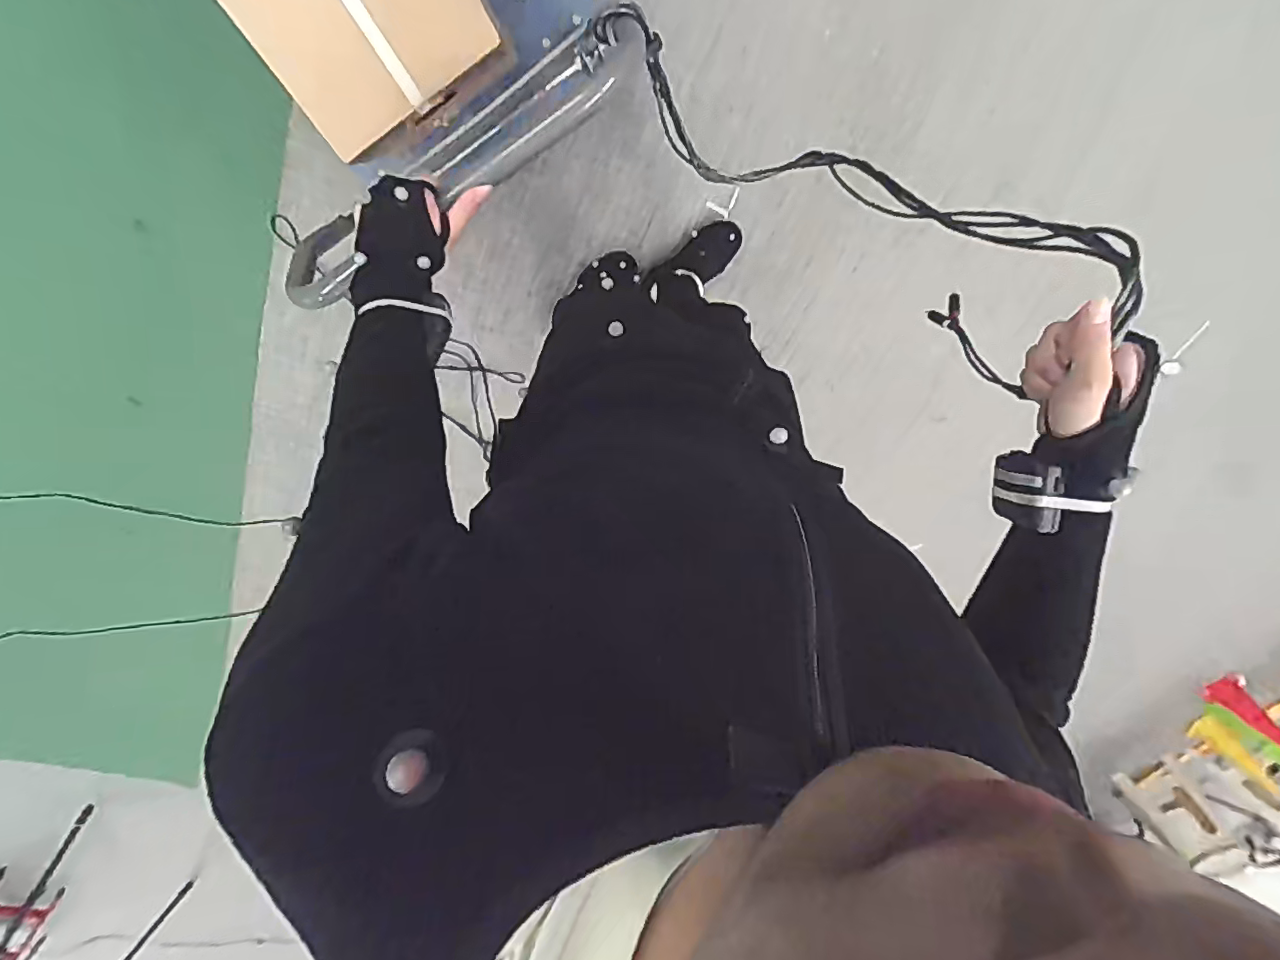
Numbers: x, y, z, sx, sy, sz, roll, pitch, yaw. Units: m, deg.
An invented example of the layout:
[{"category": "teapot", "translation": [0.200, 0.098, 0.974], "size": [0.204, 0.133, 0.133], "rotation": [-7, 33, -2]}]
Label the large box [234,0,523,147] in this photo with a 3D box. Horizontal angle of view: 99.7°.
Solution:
[{"category": "large box", "translation": [-0.433, -0.806, 0.829], "size": [0.320, 0.320, 0.408], "rotation": [-28, 123, 12]}]
